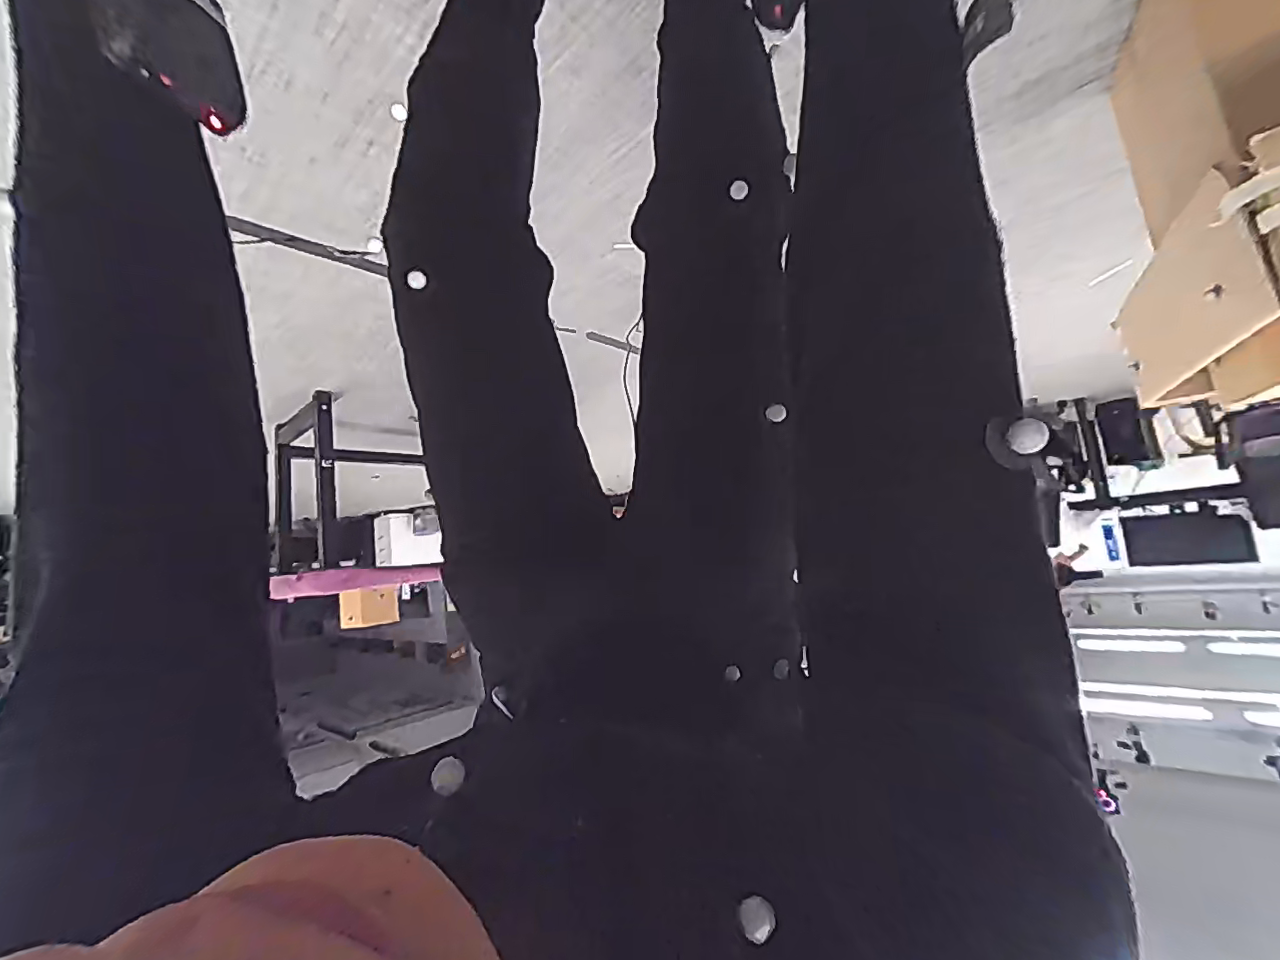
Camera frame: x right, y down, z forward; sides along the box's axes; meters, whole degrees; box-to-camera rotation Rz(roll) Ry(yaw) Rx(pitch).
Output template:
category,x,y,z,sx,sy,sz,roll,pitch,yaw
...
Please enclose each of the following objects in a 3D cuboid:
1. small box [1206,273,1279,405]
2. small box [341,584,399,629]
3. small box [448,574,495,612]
category,x,y,z,sx,sy,sz,roll,pitch,yaw
small box,1.049,-0.232,0.852,0.168,0.176,0.179,-12,169,27
small box,-1.170,0.544,2.341,0.179,0.176,0.168,-14,169,34
small box,-0.847,0.564,2.706,0.168,0.176,0.179,2,167,-45
